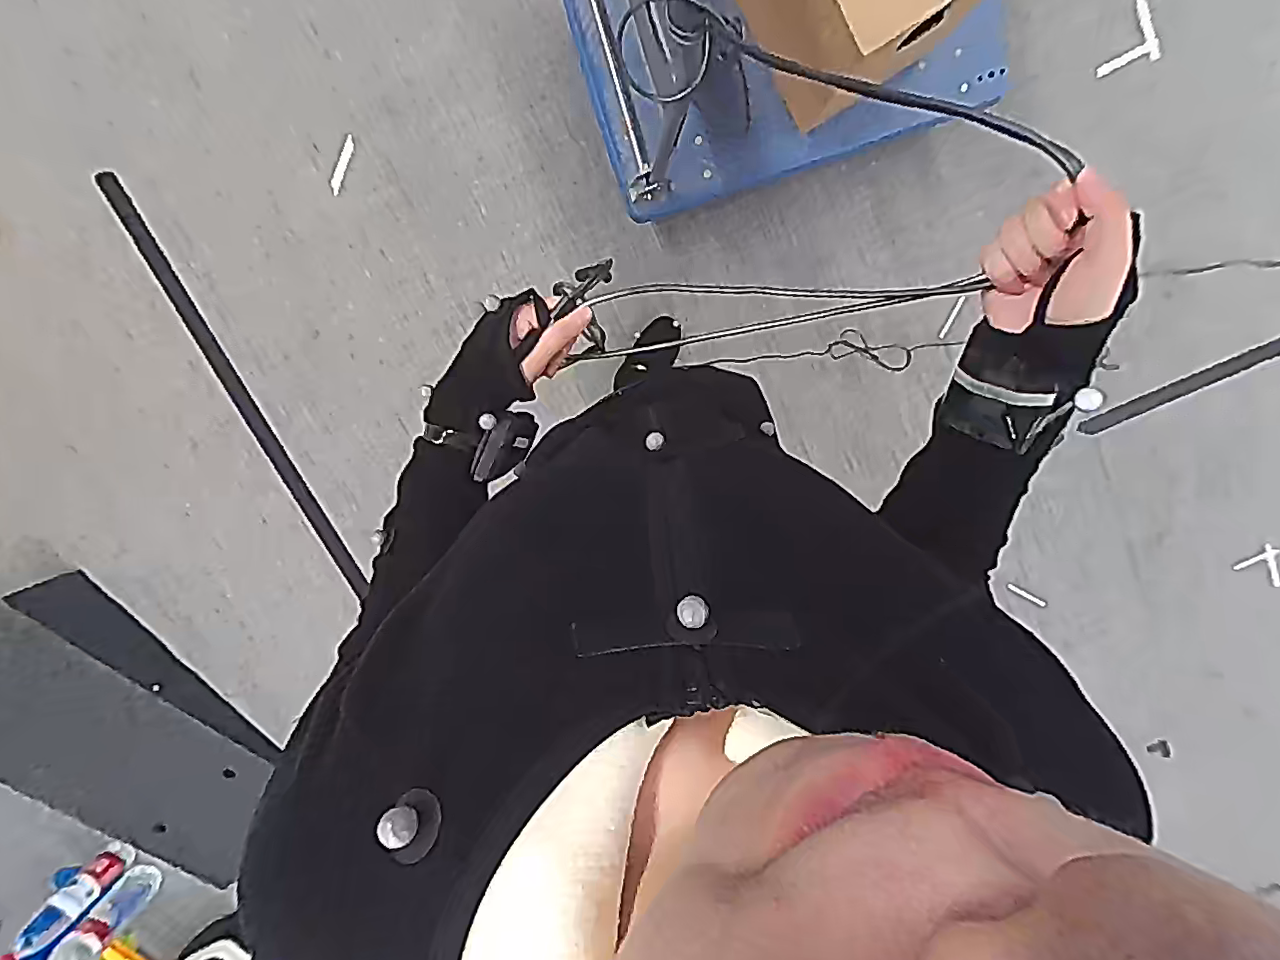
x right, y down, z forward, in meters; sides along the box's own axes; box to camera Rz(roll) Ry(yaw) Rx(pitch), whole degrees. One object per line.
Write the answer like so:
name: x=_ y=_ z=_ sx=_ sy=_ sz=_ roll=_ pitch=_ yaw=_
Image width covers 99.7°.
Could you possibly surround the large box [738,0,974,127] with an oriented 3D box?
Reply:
large box: x=0.377 y=-0.961 z=0.963 sx=0.320 sy=0.320 sz=0.408 roll=-32 pitch=103 yaw=6
